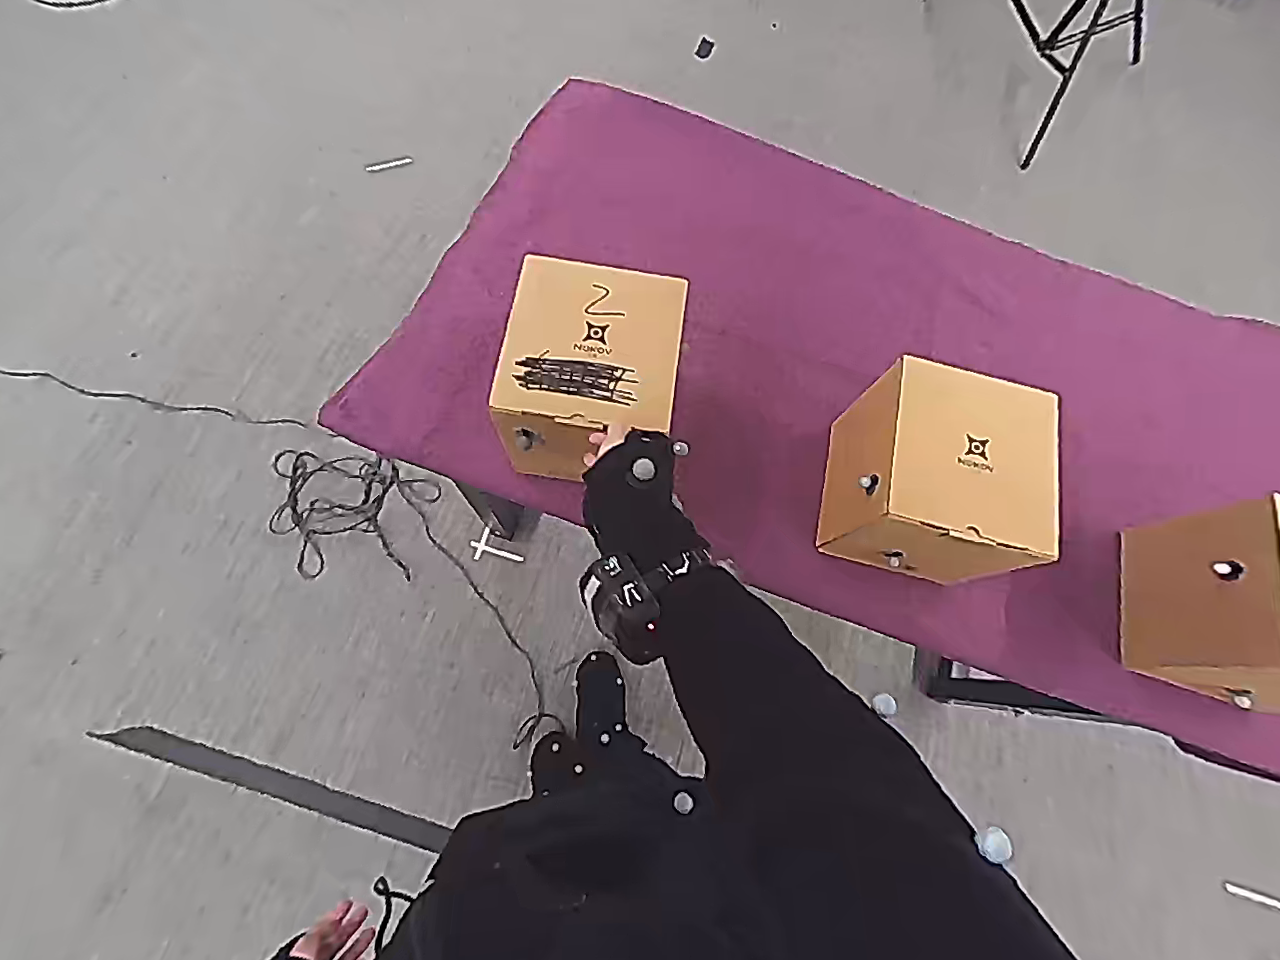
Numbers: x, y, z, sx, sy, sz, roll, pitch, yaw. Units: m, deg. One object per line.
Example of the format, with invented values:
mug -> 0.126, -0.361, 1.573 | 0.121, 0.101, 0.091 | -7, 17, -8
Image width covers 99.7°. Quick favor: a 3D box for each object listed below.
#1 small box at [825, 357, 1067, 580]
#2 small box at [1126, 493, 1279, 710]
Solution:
small box -> 0.320, -0.001, 0.593 | 0.168, 0.176, 0.179 | 14, 72, -1
small box -> 0.676, 0.139, 0.582 | 0.168, 0.176, 0.179 | 18, 71, 1
